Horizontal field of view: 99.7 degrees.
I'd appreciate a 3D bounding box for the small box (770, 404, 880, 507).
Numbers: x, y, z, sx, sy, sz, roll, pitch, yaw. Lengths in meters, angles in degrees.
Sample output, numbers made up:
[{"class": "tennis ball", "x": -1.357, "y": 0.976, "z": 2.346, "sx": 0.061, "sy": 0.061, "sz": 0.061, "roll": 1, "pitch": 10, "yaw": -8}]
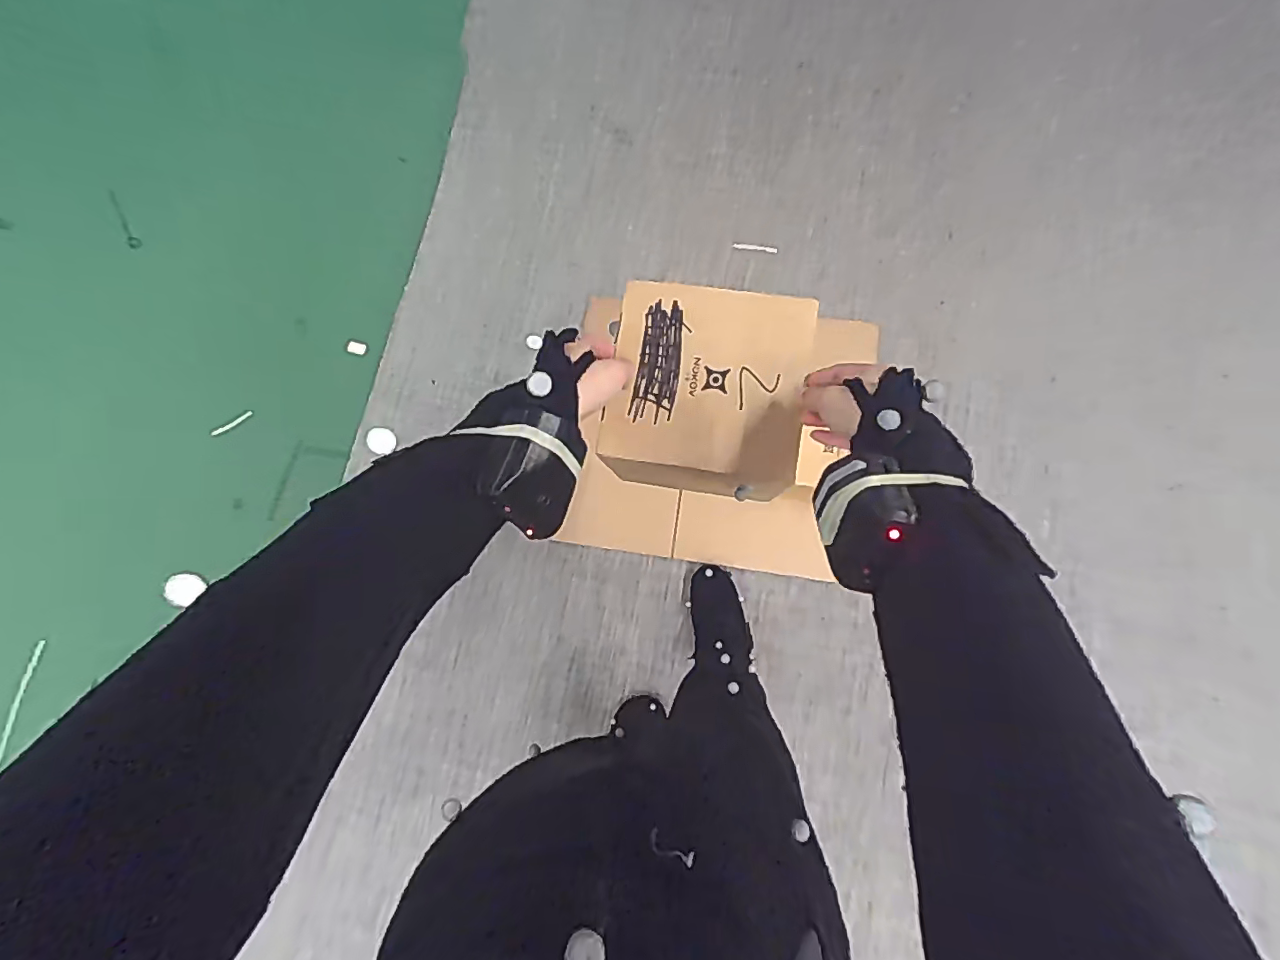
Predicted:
[{"class": "small box", "x": 0.377, "y": -0.044, "z": 1.129, "sx": 0.179, "sy": 0.176, "sz": 0.168, "roll": 10, "pitch": 80, "yaw": 6}]
